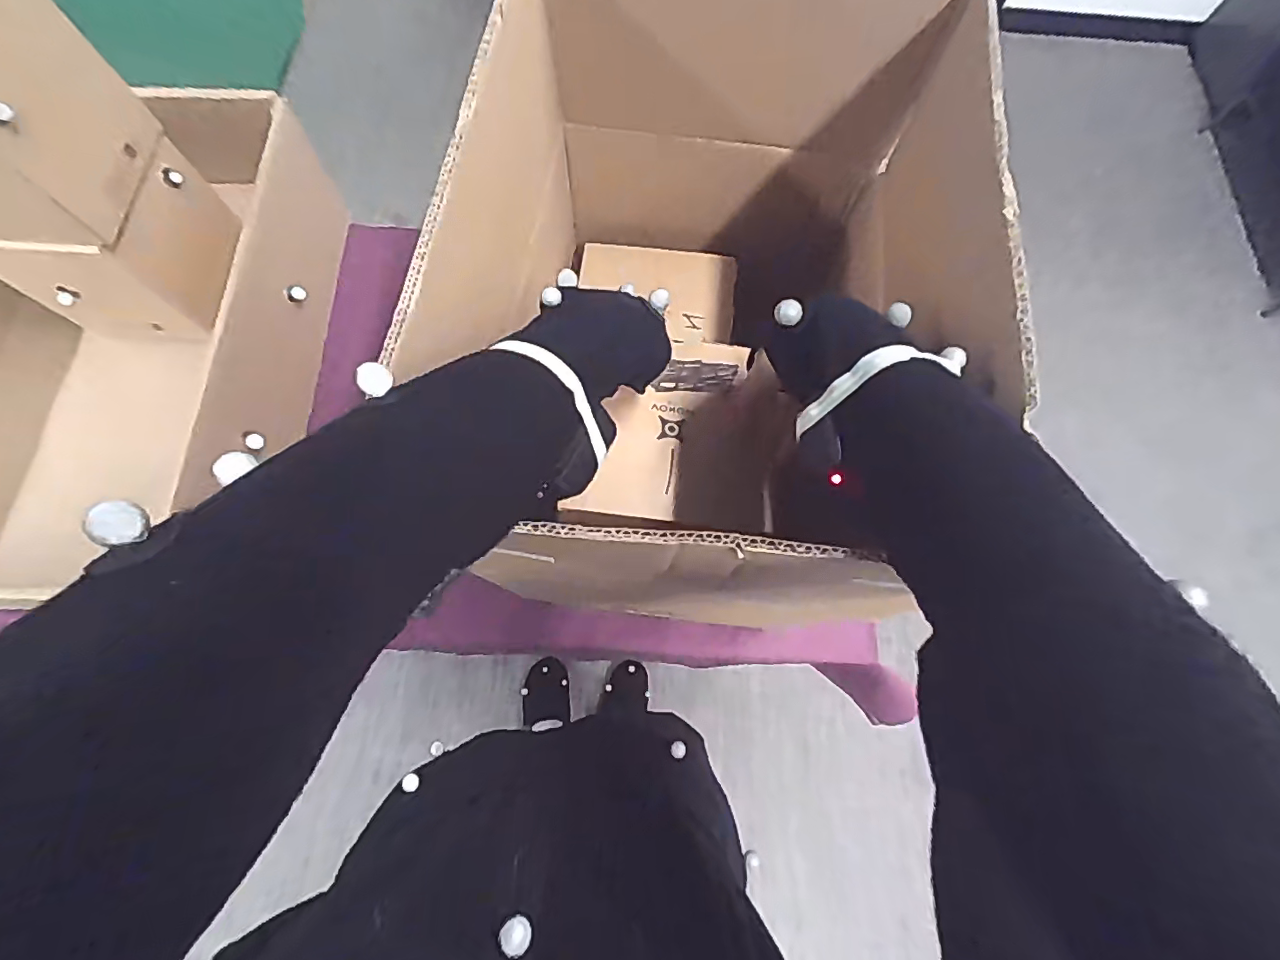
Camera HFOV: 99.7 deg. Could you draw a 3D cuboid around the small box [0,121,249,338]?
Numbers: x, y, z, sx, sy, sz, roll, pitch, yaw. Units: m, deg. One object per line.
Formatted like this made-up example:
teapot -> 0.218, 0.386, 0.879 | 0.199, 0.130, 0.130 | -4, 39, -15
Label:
small box -> -0.623, -0.291, 0.655 | 0.168, 0.176, 0.179 | 3, 72, 0
